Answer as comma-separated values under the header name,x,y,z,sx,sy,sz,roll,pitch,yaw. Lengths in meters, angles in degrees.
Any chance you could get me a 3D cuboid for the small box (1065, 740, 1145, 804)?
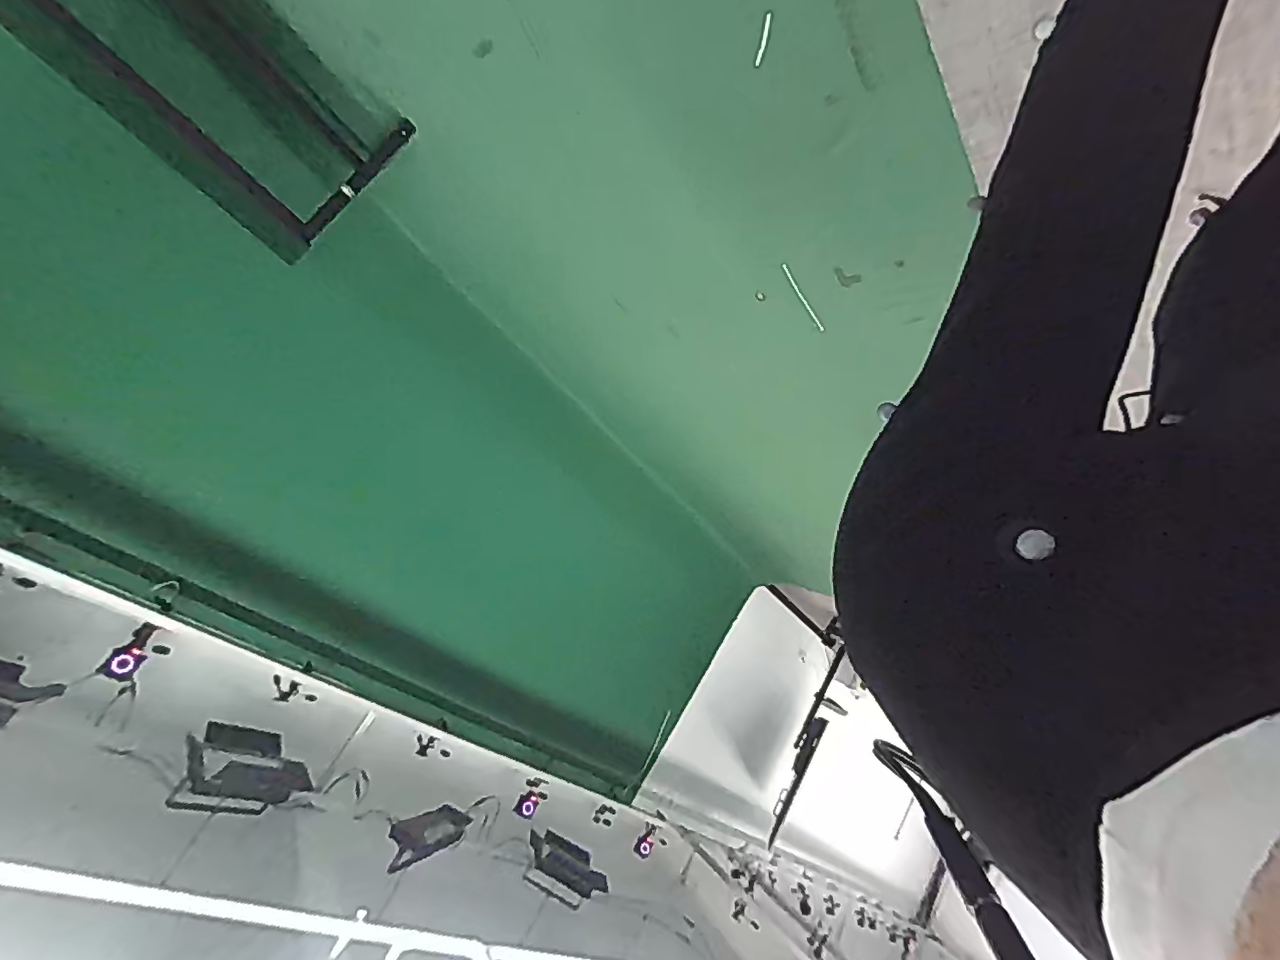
name,x,y,z,sx,sy,sz,roll,pitch,yaw
small box,1.586,0.956,1.839,0.179,0.176,0.168,43,162,-33
